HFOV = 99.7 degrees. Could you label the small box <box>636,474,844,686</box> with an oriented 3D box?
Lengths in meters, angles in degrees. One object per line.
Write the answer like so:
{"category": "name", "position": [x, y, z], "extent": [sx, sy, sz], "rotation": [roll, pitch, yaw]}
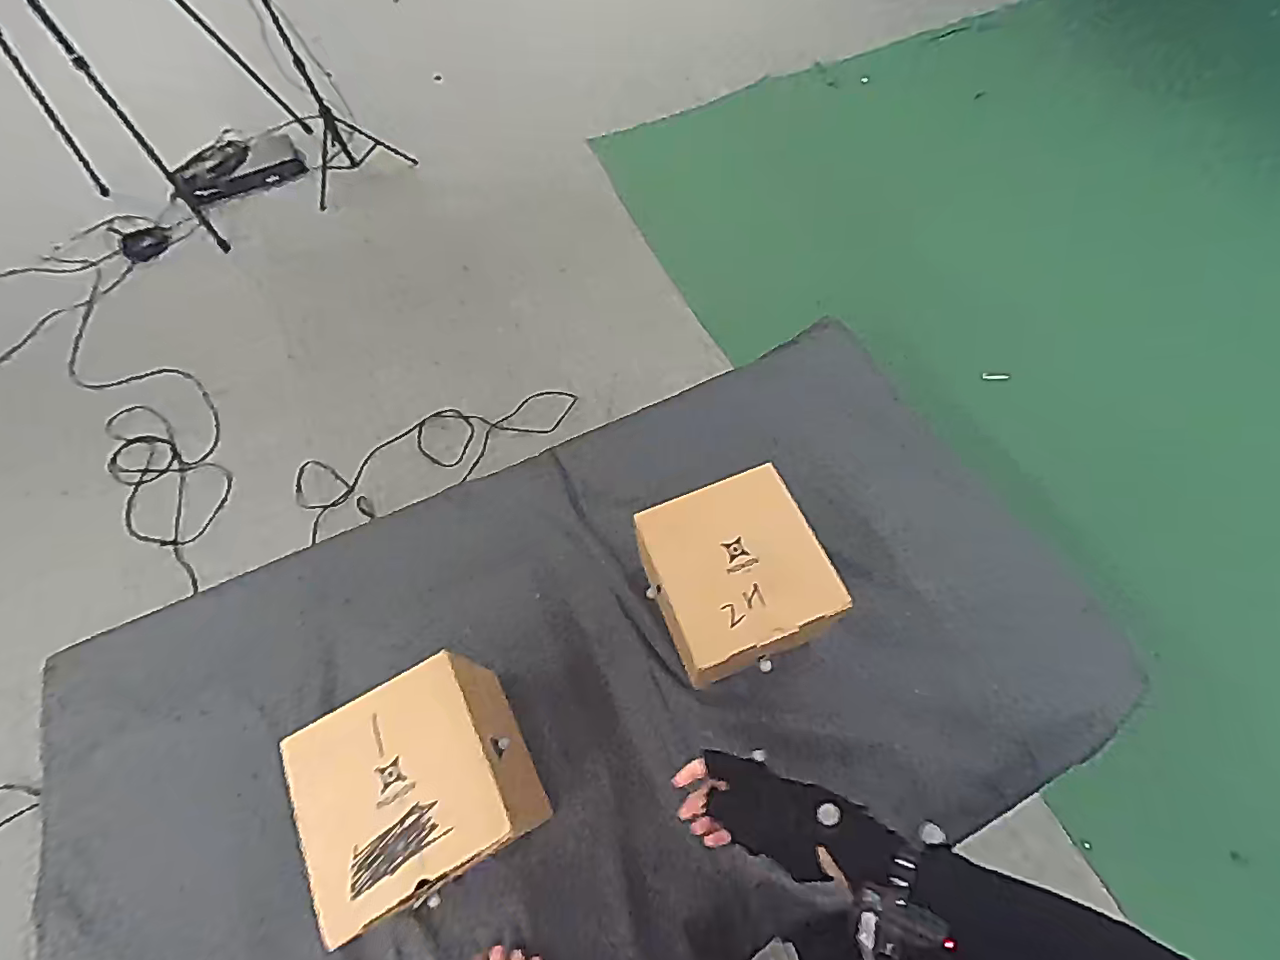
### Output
{"category": "small box", "position": [0.097, 0.122, 0.625], "extent": [0.168, 0.176, 0.179], "rotation": [-18, 67, -7]}

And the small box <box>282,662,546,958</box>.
{"category": "small box", "position": [-0.213, 0.313, 0.546], "extent": [0.168, 0.176, 0.179], "rotation": [-28, 63, -11]}
